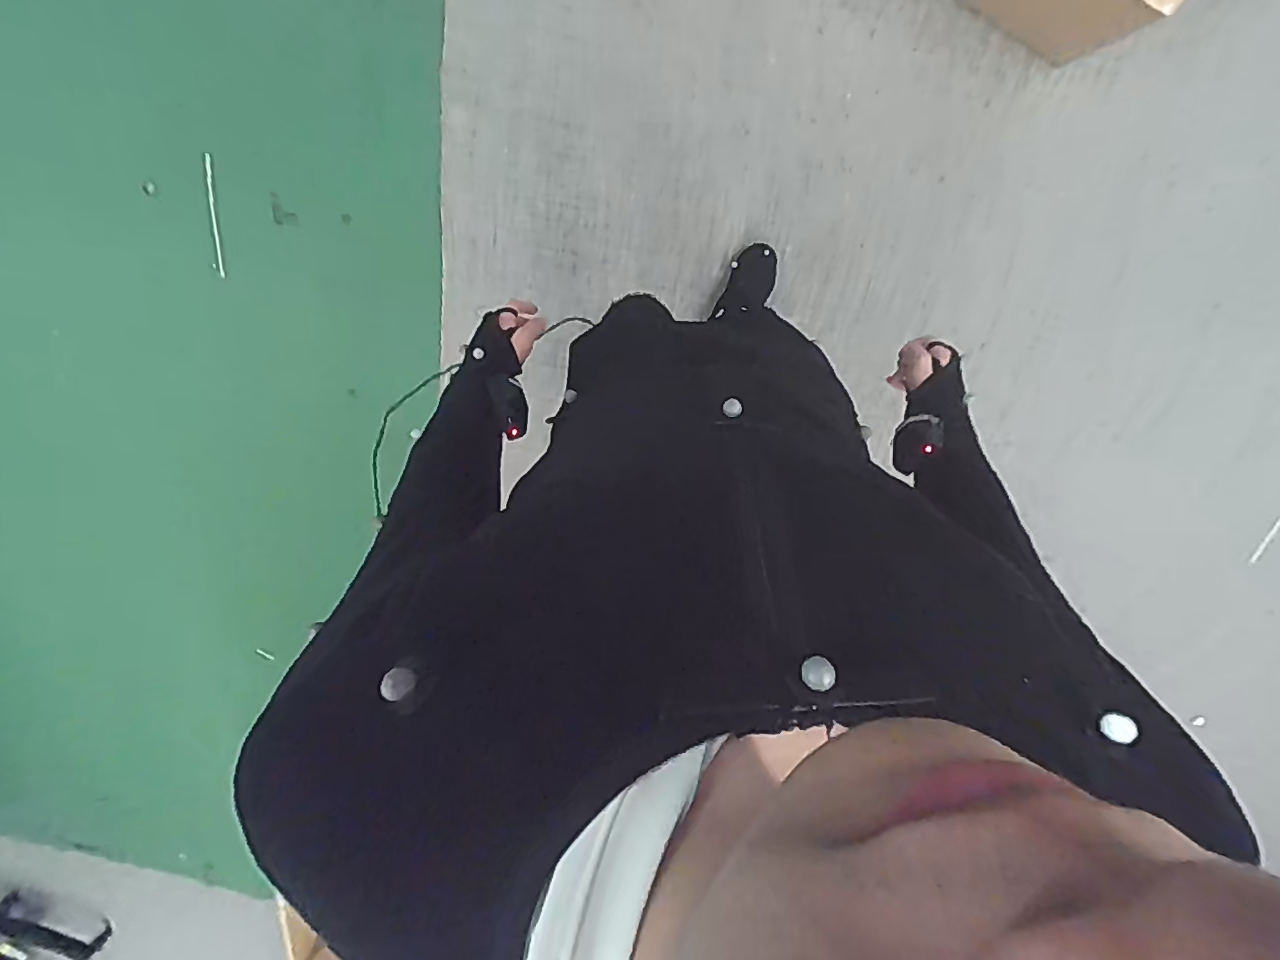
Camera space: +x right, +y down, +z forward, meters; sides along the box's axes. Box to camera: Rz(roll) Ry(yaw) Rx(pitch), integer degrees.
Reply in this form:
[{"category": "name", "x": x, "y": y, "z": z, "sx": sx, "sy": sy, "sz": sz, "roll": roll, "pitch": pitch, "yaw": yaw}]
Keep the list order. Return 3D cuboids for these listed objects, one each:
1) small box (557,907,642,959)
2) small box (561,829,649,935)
[{"category": "small box", "x": -0.090, "y": 1.006, "z": 1.087, "sx": 0.168, "sy": 0.176, "sz": 0.179, "roll": 9, "pitch": 114, "yaw": 2}, {"category": "small box", "x": -0.075, "y": 0.935, "z": 1.233, "sx": 0.179, "sy": 0.176, "sz": 0.168, "roll": 8, "pitch": 115, "yaw": 2}]
